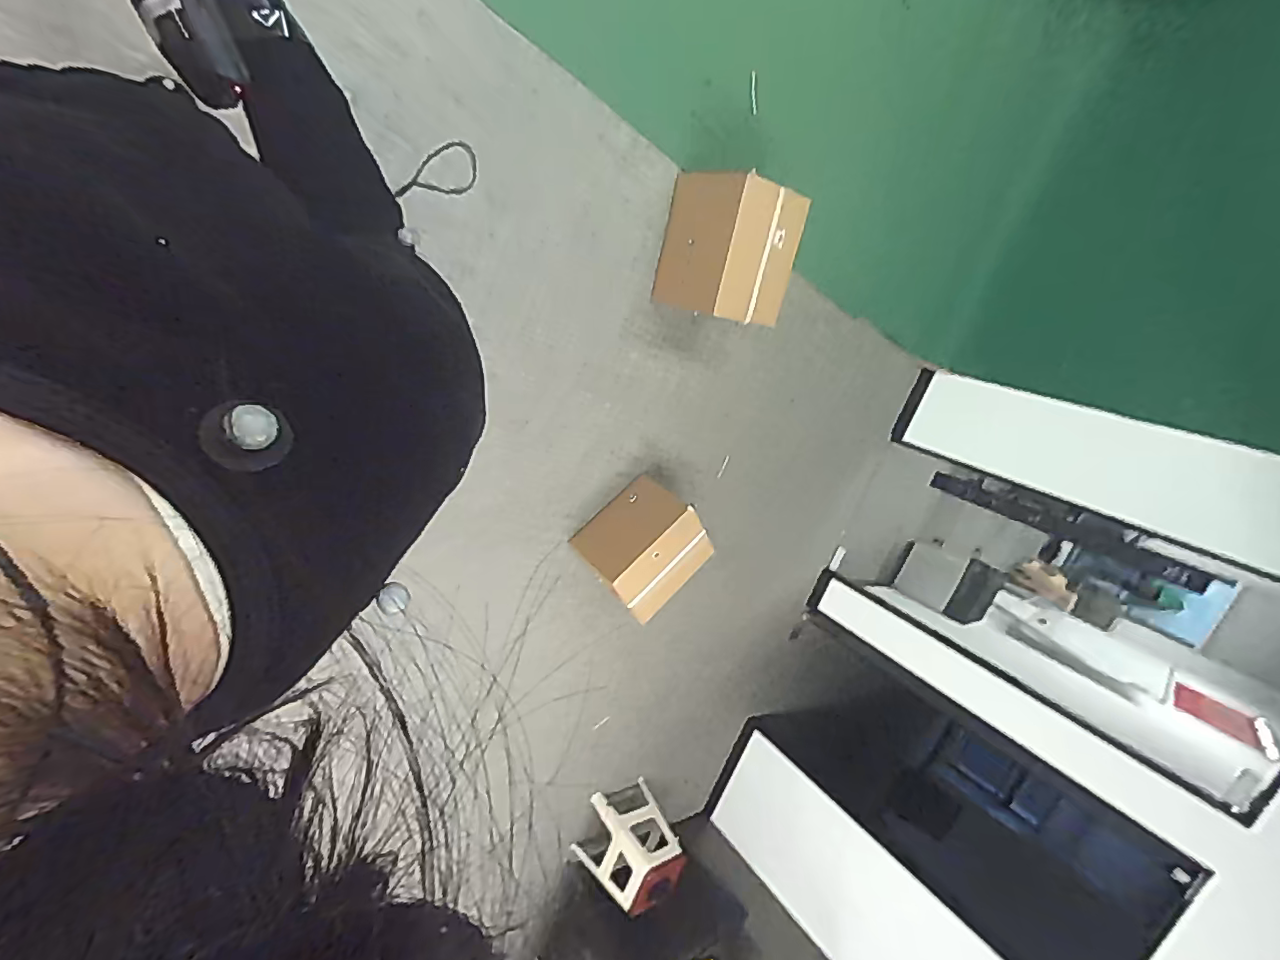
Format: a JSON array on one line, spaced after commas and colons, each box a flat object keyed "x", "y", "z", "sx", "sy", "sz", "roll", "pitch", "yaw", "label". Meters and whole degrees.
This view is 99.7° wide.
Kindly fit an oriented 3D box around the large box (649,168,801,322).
[{"x": 0.267, "y": -0.762, "z": 1.784, "sx": 0.320, "sy": 0.320, "sz": 0.408, "roll": -5, "pitch": 116, "yaw": -41, "label": "large box"}]
